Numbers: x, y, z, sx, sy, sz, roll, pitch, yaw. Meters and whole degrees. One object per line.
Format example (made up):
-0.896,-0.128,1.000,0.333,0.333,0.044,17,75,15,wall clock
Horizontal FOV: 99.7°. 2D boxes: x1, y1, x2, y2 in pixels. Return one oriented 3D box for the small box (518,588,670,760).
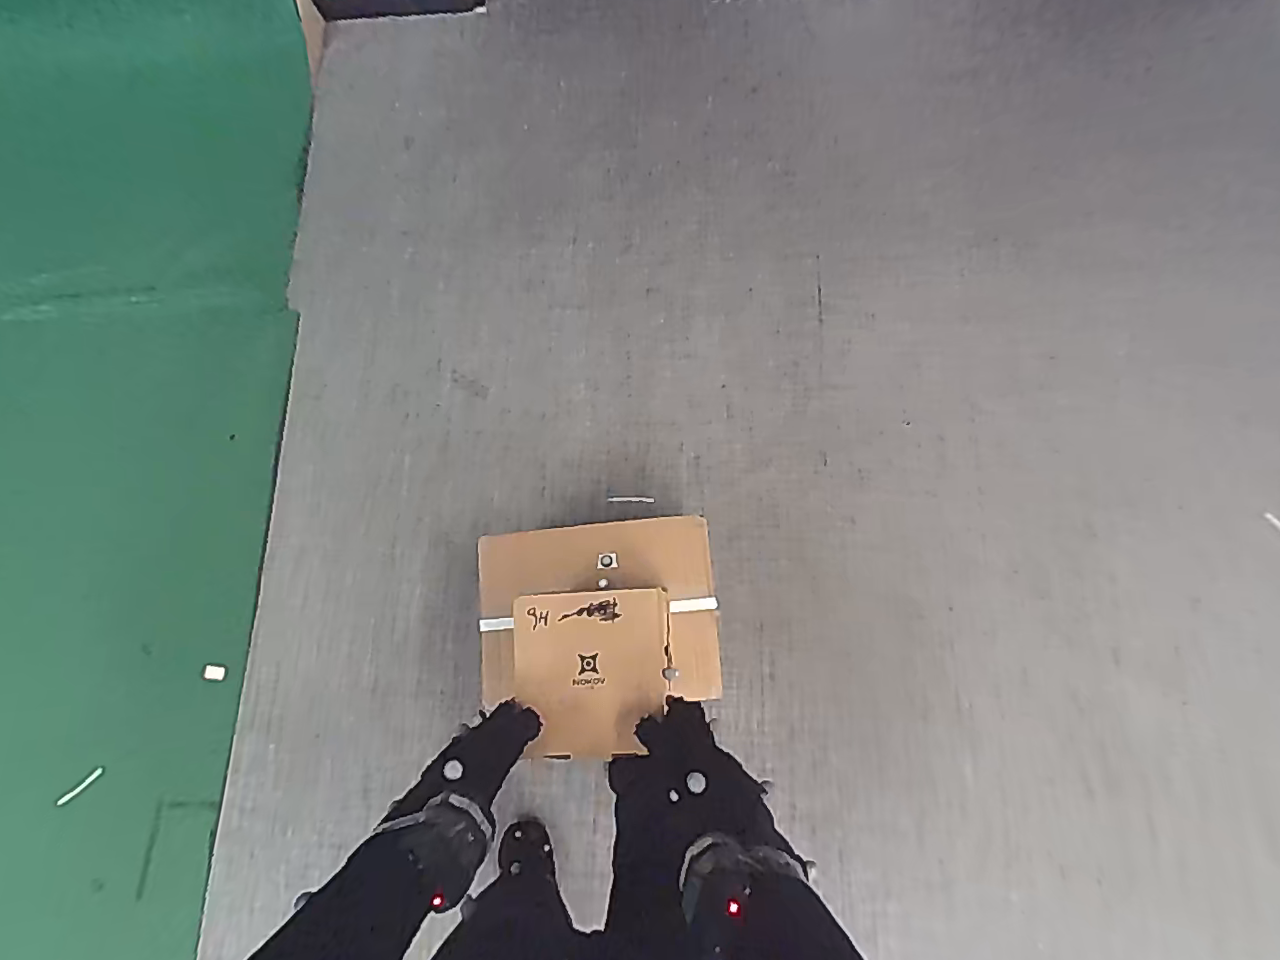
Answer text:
-0.049,0.231,0.682,0.168,0.176,0.179,-4,80,3,small box
